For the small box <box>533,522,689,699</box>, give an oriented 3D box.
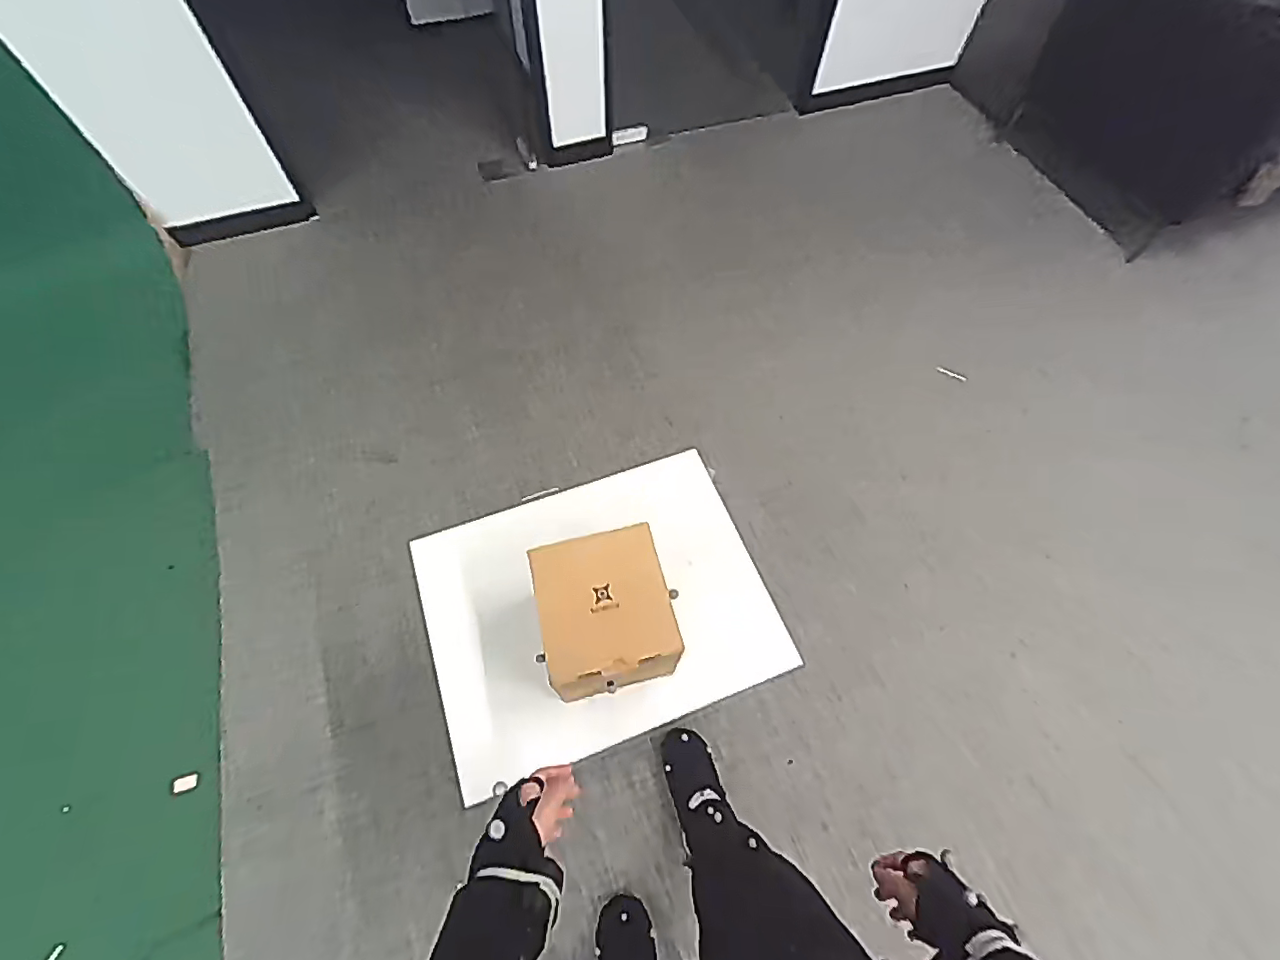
[{"bbox_3d":[-0.043,0.183,0.742,0.168,0.176,0.179,-13,63,-8],"label":"small box"}]
